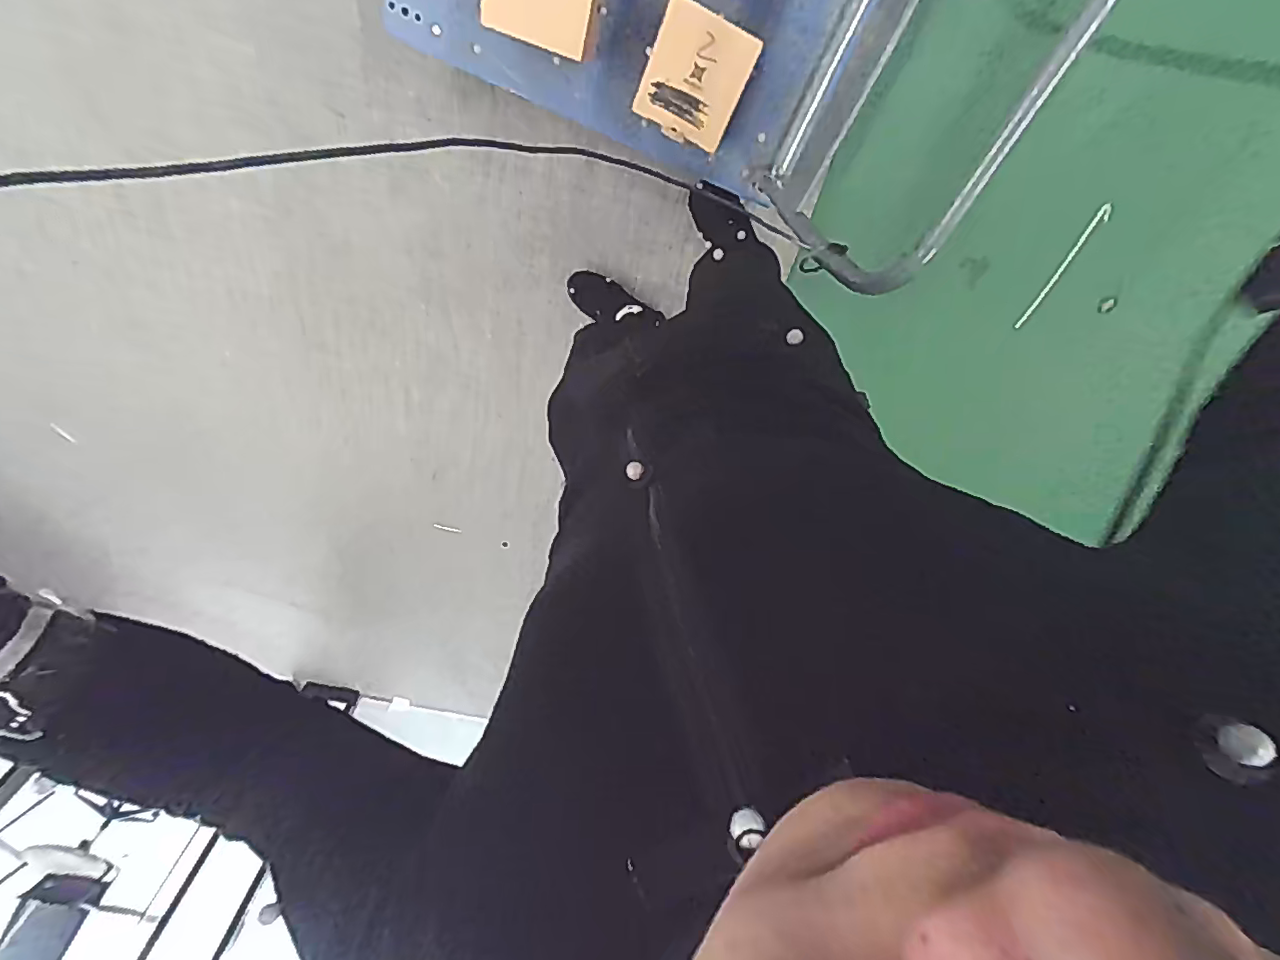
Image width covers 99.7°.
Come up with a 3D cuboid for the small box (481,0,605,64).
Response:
[{"bbox_3d":[-0.150,-0.836,0.912,0.179,0.176,0.168,16,127,-8],"label":"small box"}]
